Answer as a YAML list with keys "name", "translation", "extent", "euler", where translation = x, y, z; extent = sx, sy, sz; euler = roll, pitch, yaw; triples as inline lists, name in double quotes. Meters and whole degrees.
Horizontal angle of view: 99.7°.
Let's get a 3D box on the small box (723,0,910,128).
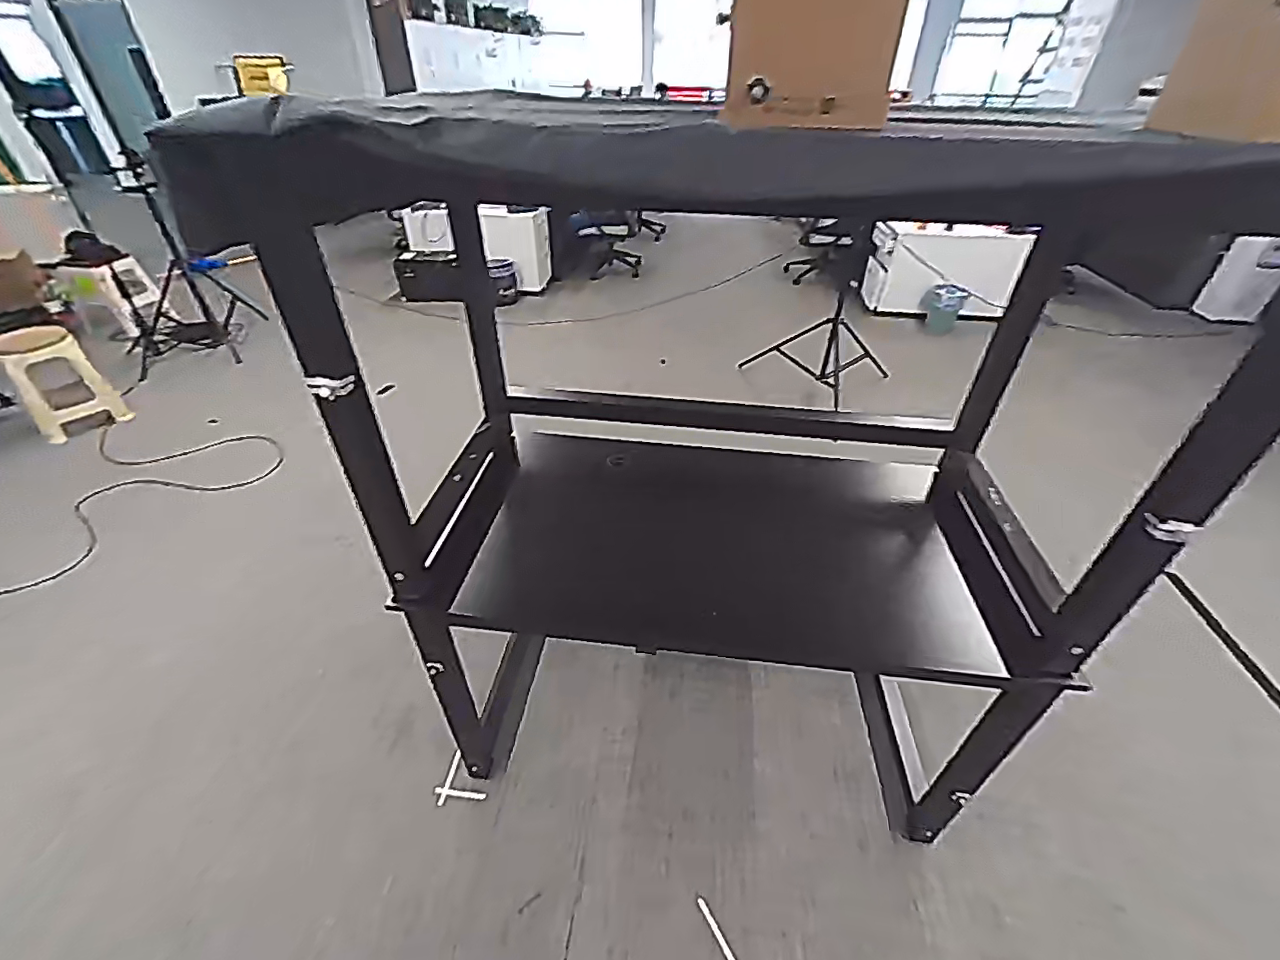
- name: "small box"
  translation: [0.180, -0.480, 0.577]
  extent: [0.168, 0.176, 0.179]
  euler: [5, 36, 5]
